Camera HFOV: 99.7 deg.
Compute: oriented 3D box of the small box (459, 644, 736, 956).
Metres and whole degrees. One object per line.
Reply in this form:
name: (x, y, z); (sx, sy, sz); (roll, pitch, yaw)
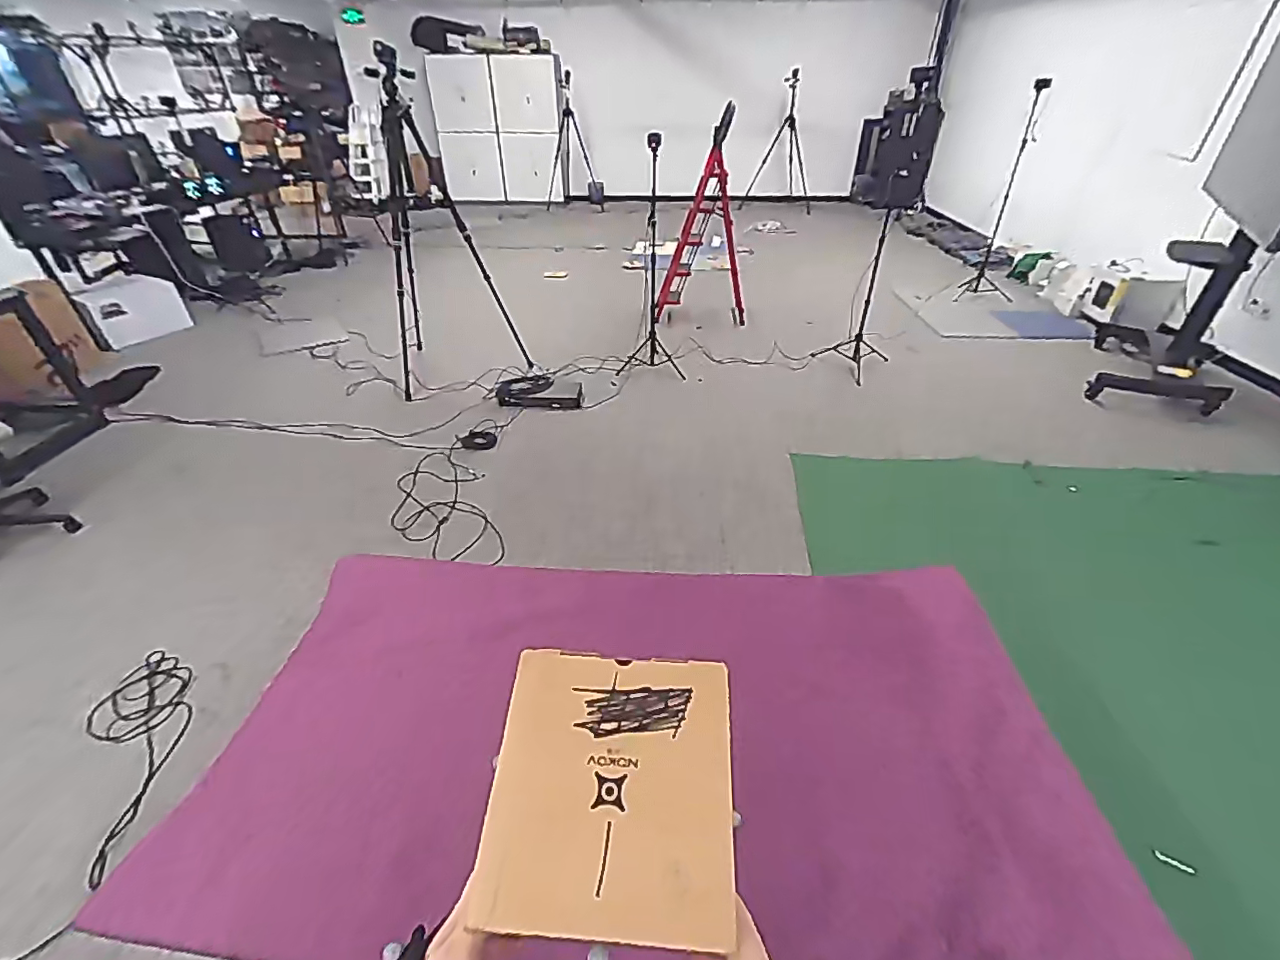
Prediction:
small box: (-0.019, 0.251, 0.426); (0.168, 0.176, 0.179); (2, 50, 3)
